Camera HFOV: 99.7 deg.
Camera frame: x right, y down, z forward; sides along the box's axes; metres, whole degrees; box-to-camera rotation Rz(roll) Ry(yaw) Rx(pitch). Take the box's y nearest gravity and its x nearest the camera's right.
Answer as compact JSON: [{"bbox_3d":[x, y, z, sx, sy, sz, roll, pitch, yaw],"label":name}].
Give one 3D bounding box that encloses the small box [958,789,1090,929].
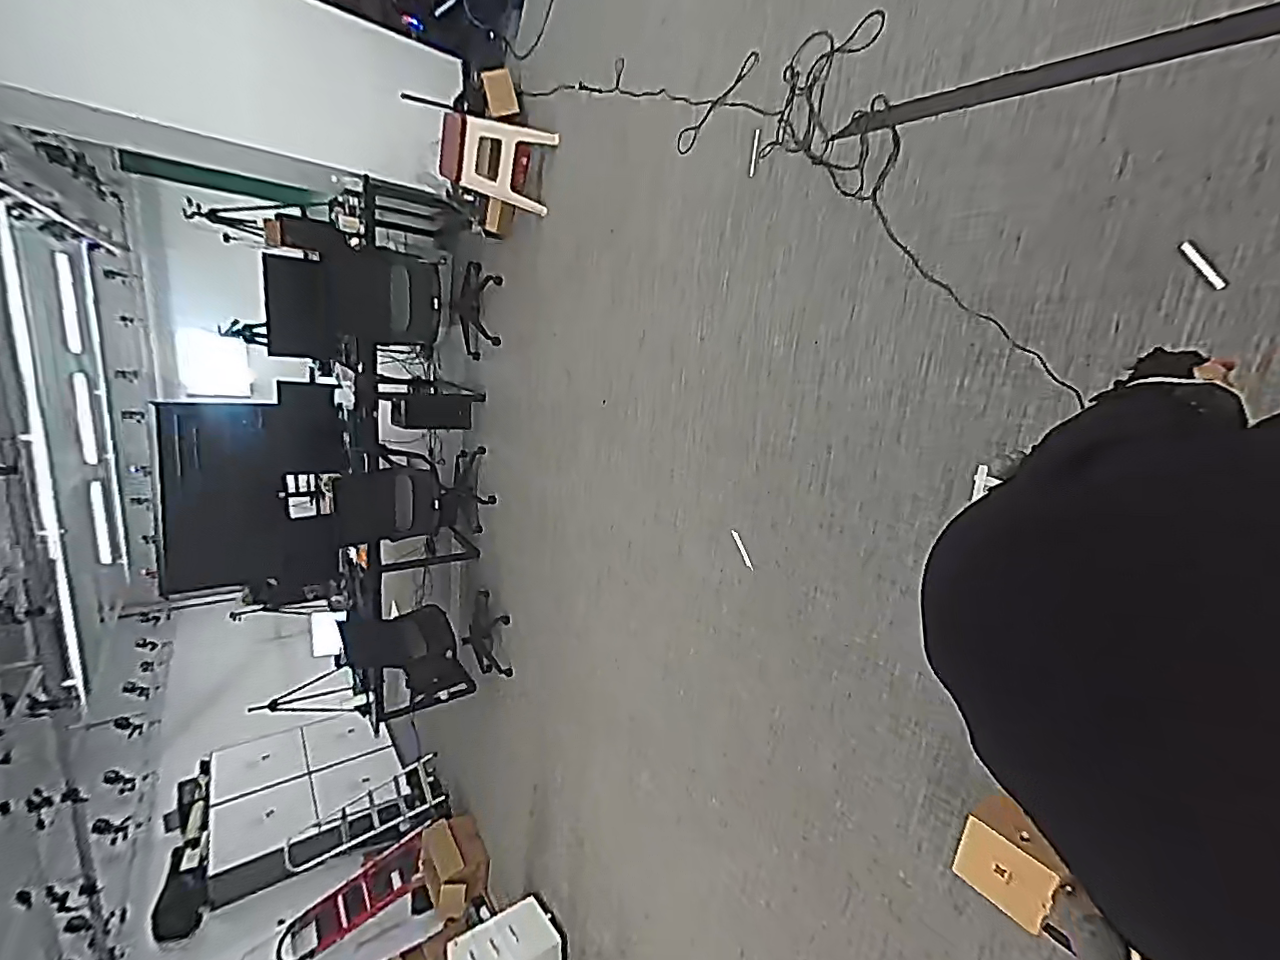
[{"bbox_3d":[0.863,0.834,1.217,0.179,0.176,0.168,25,113,49],"label":"small box"}]
